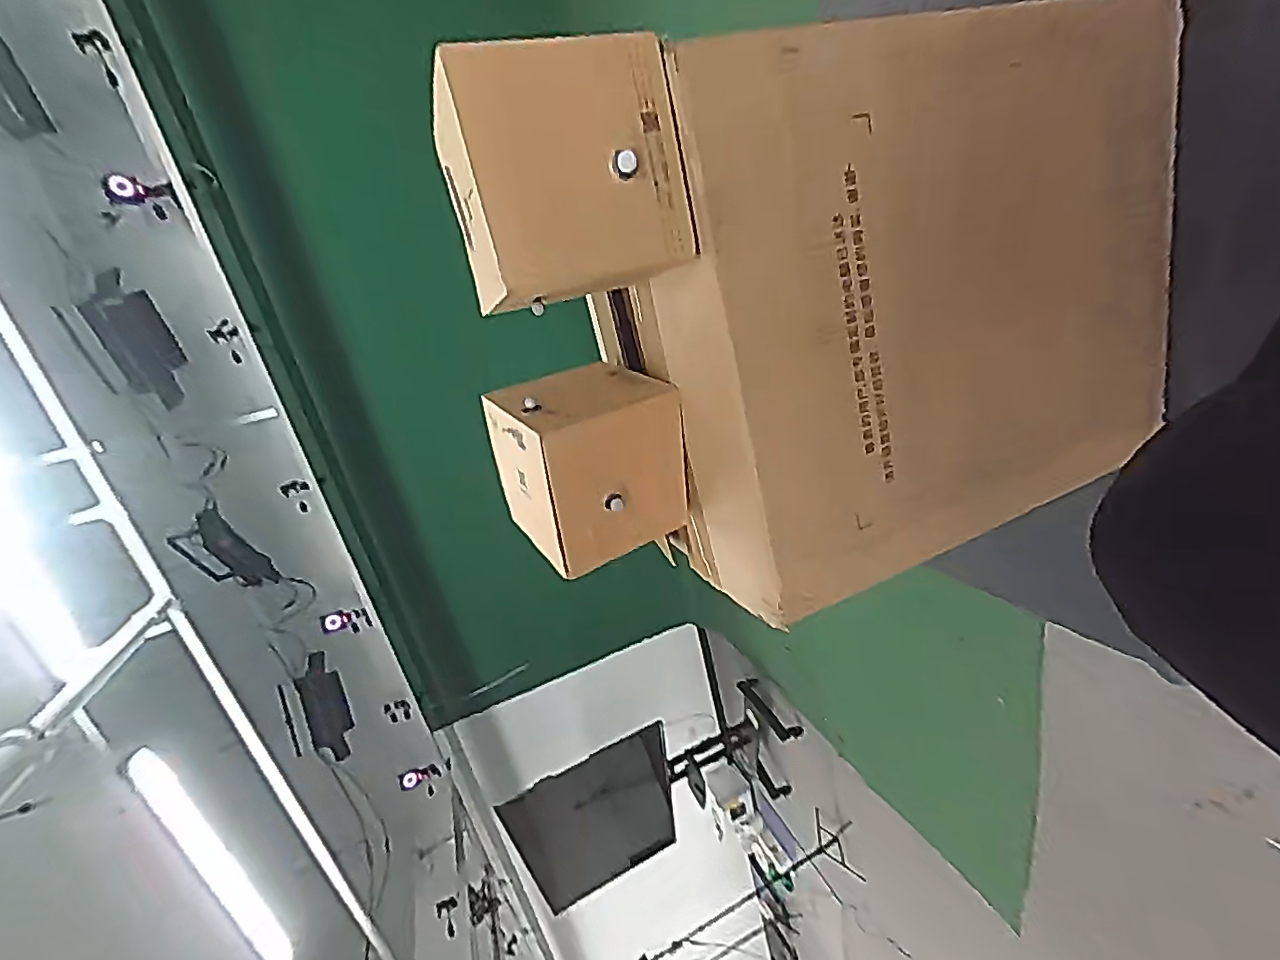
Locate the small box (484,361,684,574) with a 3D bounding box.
[{"bbox_3d":[-0.061,-0.026,0.649,0.168,0.176,0.179,31,137,49],"label":"small box"}]

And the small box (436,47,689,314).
[{"bbox_3d":[-0.075,-0.257,0.494,0.179,0.176,0.168,-153,46,-66],"label":"small box"}]
